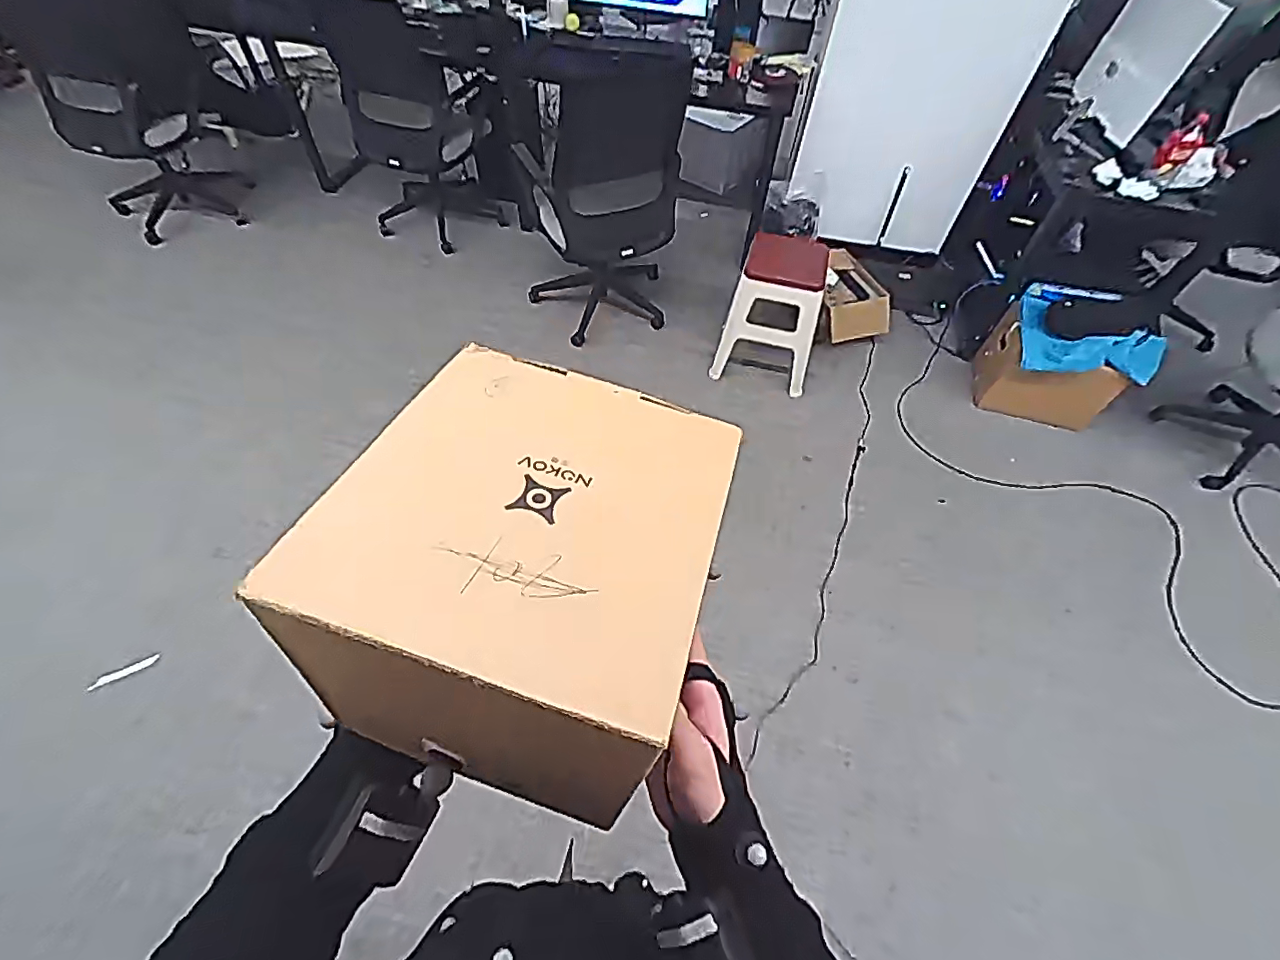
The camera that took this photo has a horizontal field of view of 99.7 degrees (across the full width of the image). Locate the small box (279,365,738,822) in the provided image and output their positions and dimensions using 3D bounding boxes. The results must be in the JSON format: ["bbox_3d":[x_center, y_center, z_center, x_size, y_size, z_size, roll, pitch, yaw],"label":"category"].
[{"bbox_3d":[-0.055,0.067,0.318,0.168,0.176,0.179,17,48,5],"label":"small box"}]
